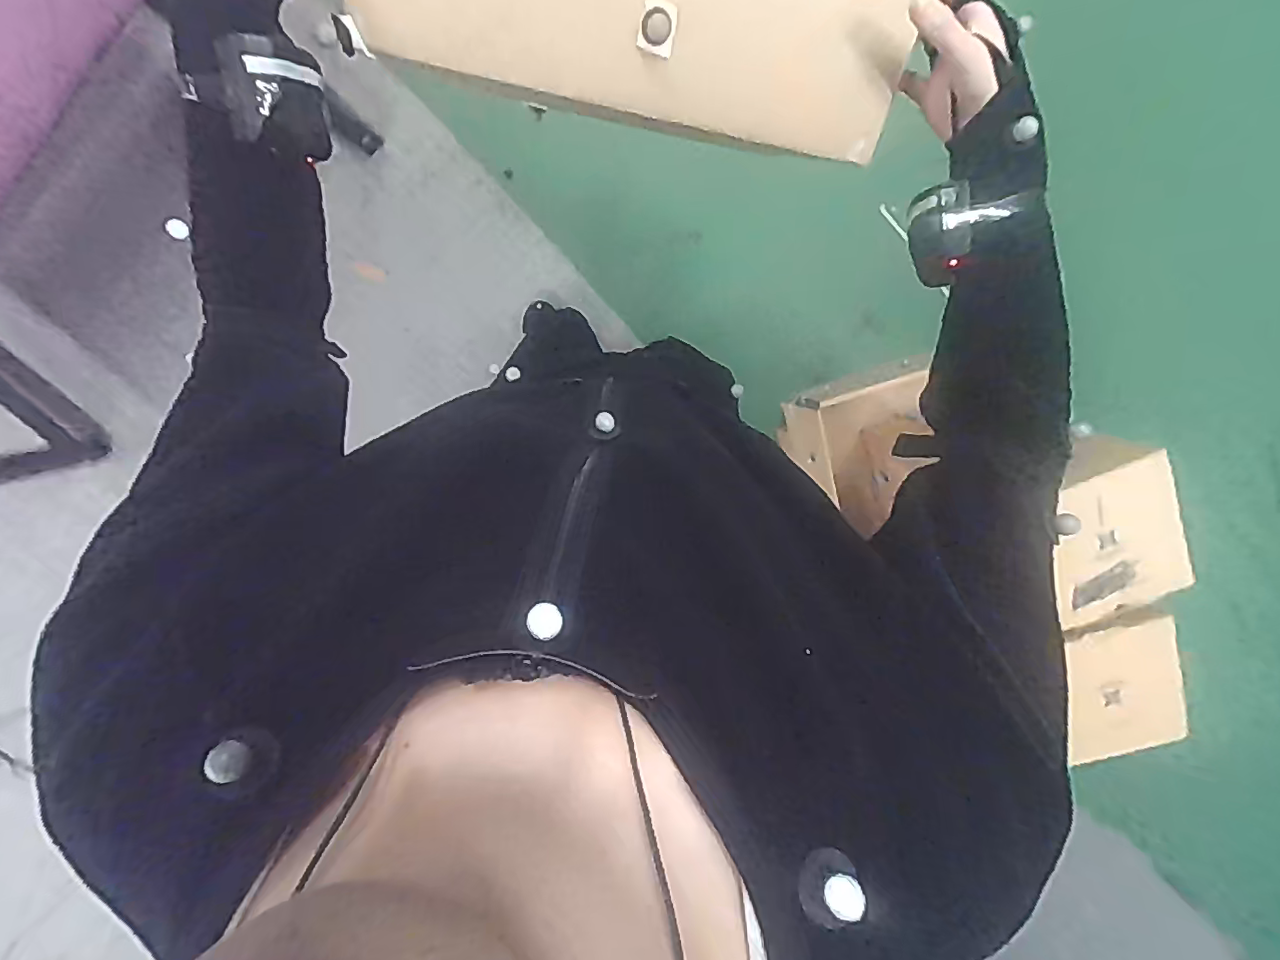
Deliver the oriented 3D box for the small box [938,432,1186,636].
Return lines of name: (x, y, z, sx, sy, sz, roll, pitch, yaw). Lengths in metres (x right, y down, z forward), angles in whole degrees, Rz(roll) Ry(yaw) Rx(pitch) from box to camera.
small box: (0.515, 0.057, 0.682, 0.168, 0.176, 0.179, -23, 103, 4)
